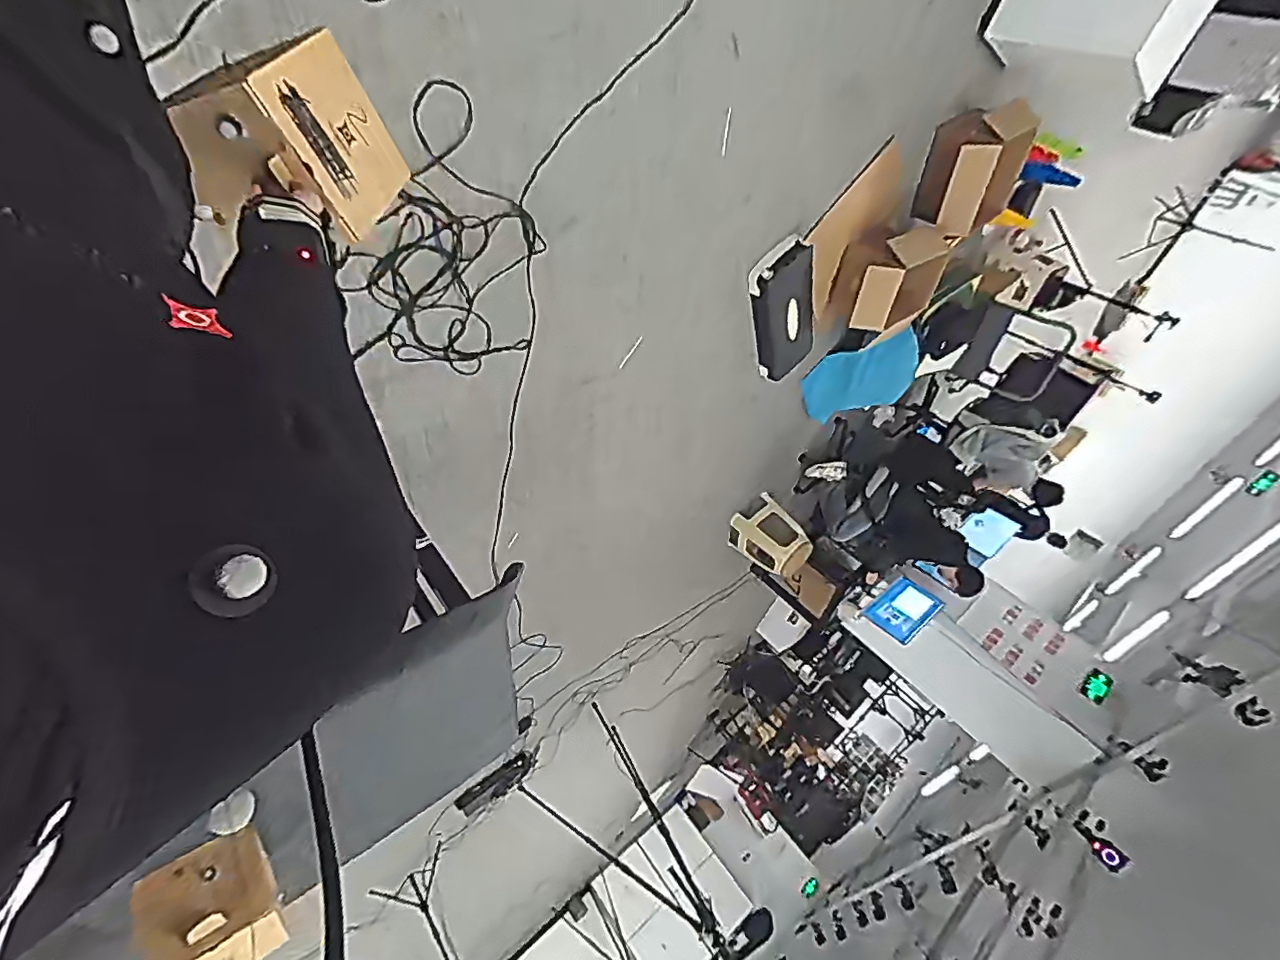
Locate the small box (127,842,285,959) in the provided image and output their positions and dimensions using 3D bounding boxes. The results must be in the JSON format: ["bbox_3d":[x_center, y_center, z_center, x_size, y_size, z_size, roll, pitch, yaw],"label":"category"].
[{"bbox_3d":[-0.726,0.762,0.913,0.168,0.176,0.179,-19,138,-39],"label":"small box"}]
